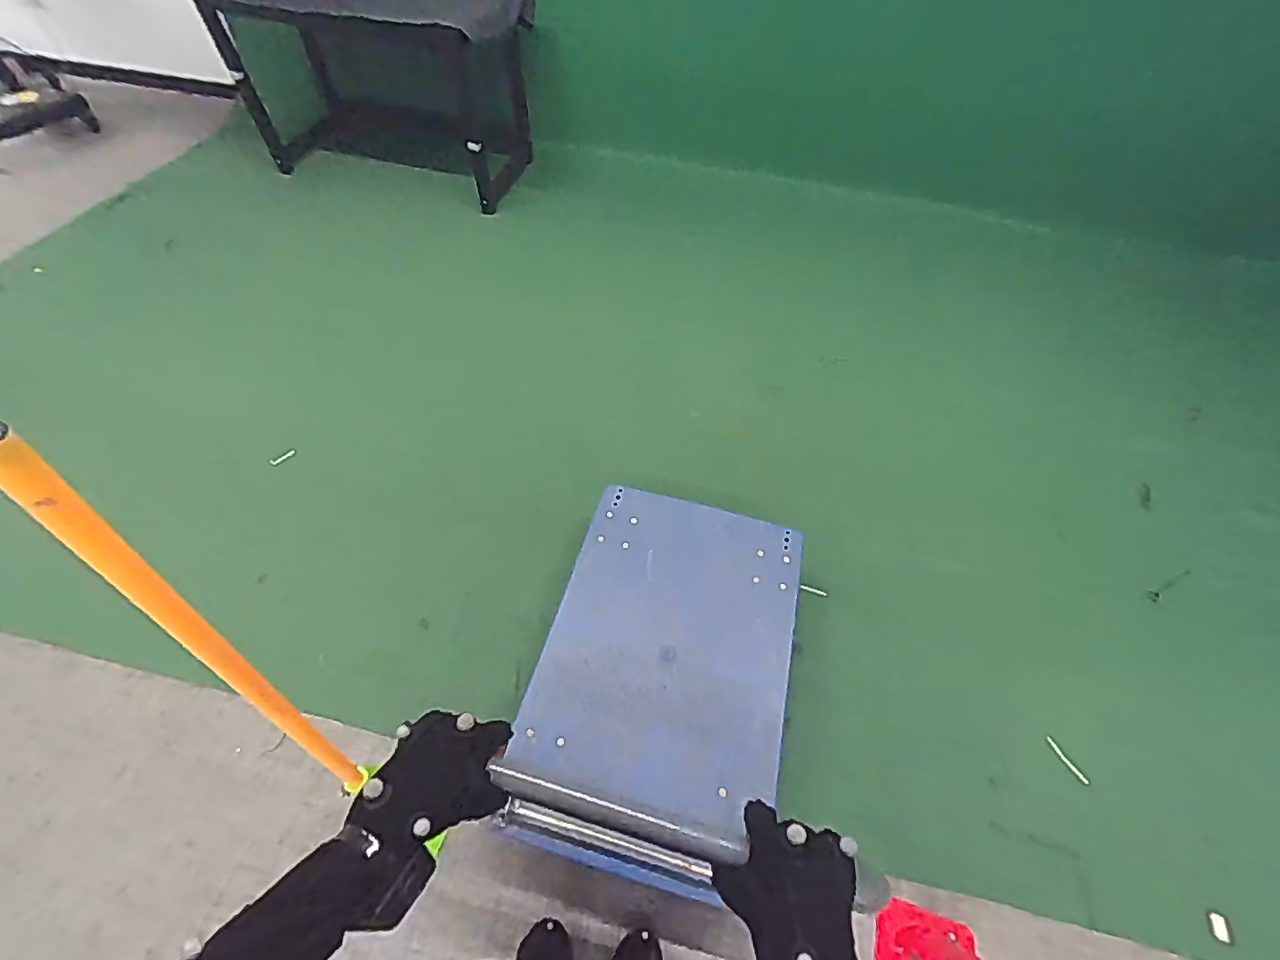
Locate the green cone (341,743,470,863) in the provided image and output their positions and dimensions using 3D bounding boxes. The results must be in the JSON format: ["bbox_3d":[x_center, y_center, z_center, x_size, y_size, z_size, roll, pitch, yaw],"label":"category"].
[{"bbox_3d":[-0.510,0.631,1.101,0.202,0.368,0.200,16,54,9],"label":"green cone"}]
